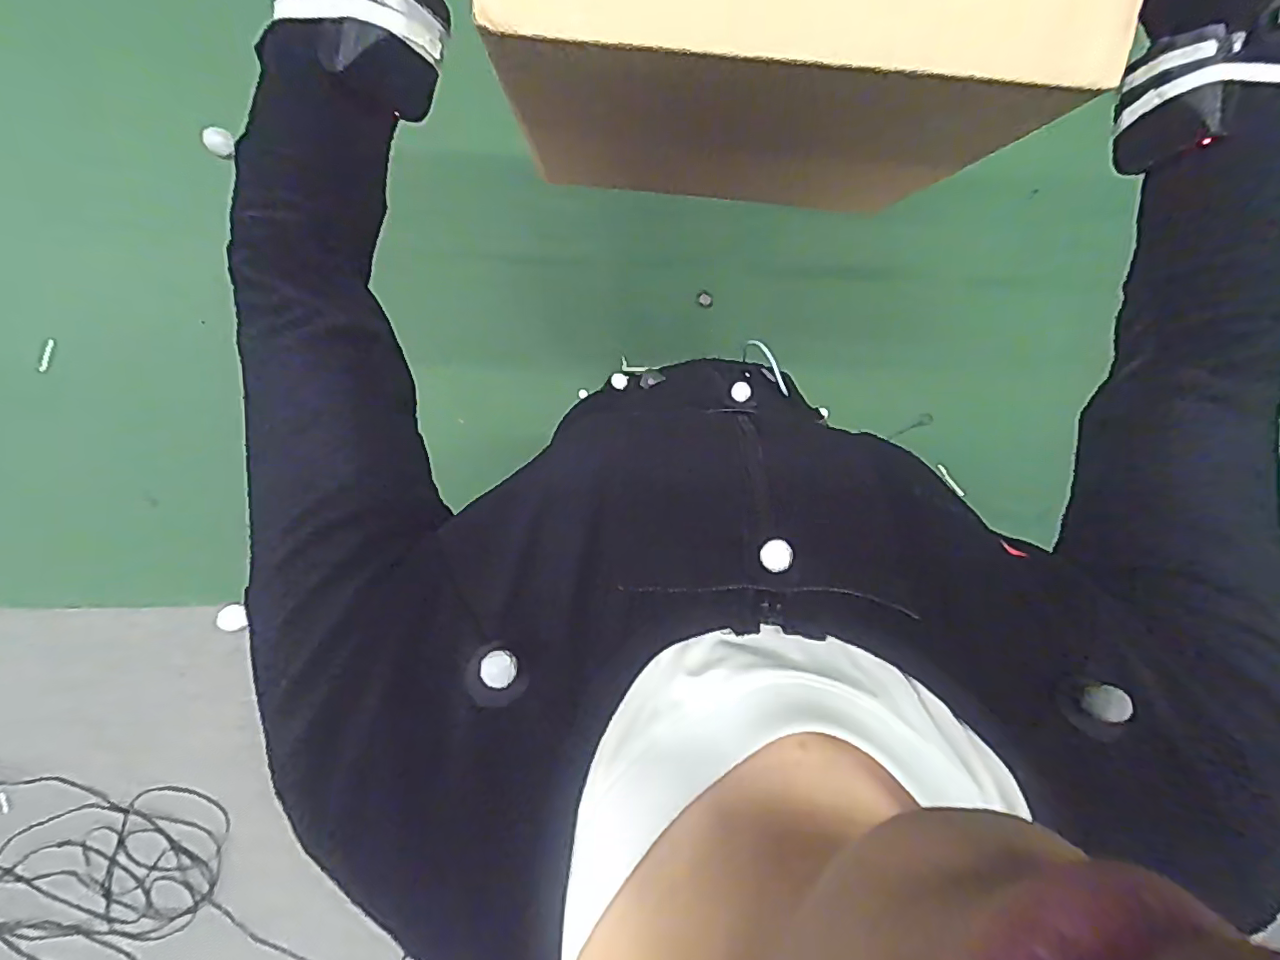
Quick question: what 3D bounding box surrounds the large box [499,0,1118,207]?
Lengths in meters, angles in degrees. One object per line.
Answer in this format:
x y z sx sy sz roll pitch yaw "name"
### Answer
0.107 -0.448 0.459 0.408 0.320 0.320 3 103 -4 "large box"
